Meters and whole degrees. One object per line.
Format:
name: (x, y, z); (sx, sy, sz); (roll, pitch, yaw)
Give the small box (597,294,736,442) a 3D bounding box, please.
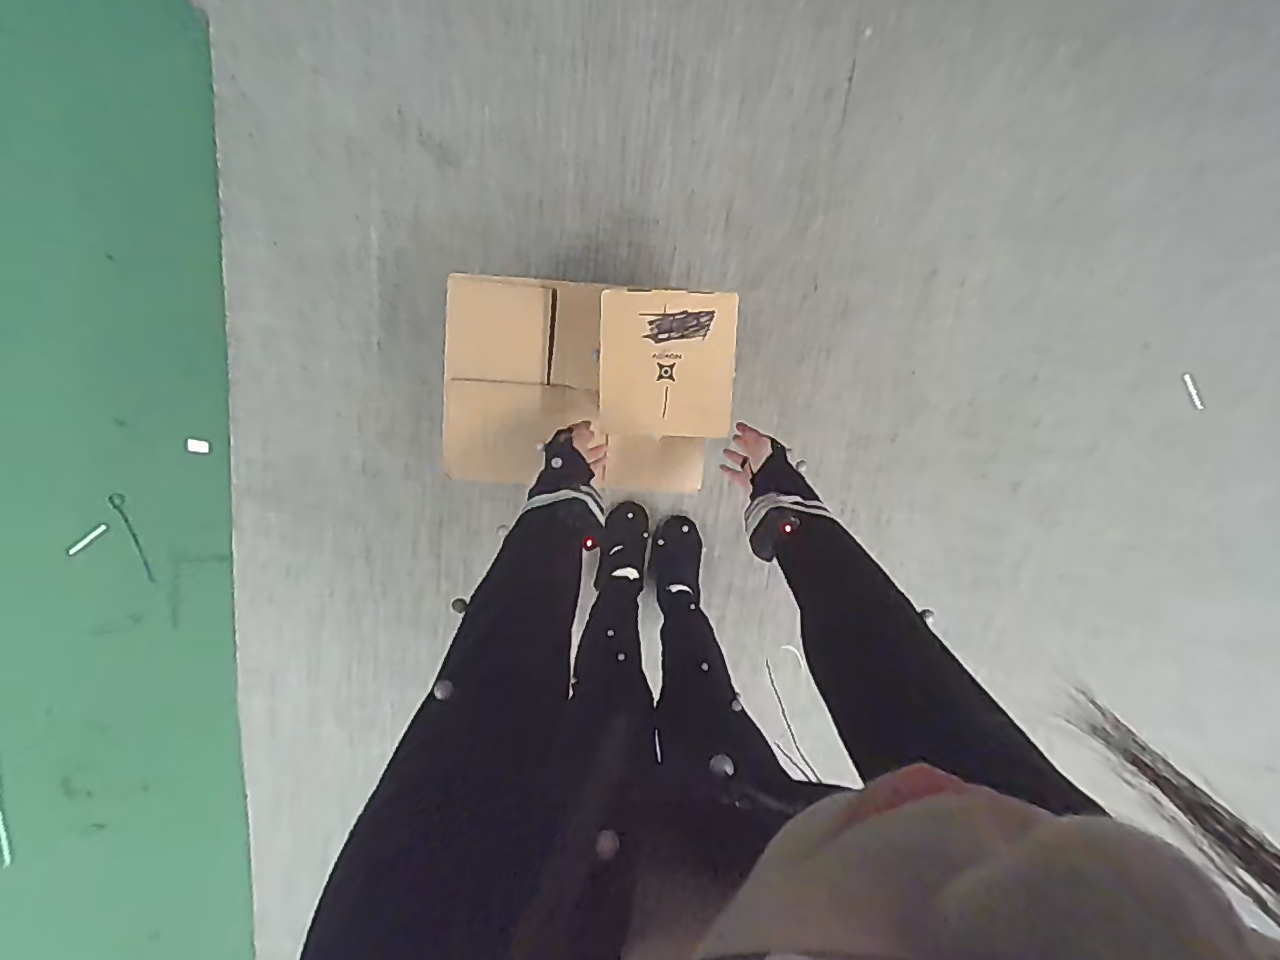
small box: (0.031, -0.152, 0.746); (0.168, 0.176, 0.179); (2, 102, 0)
